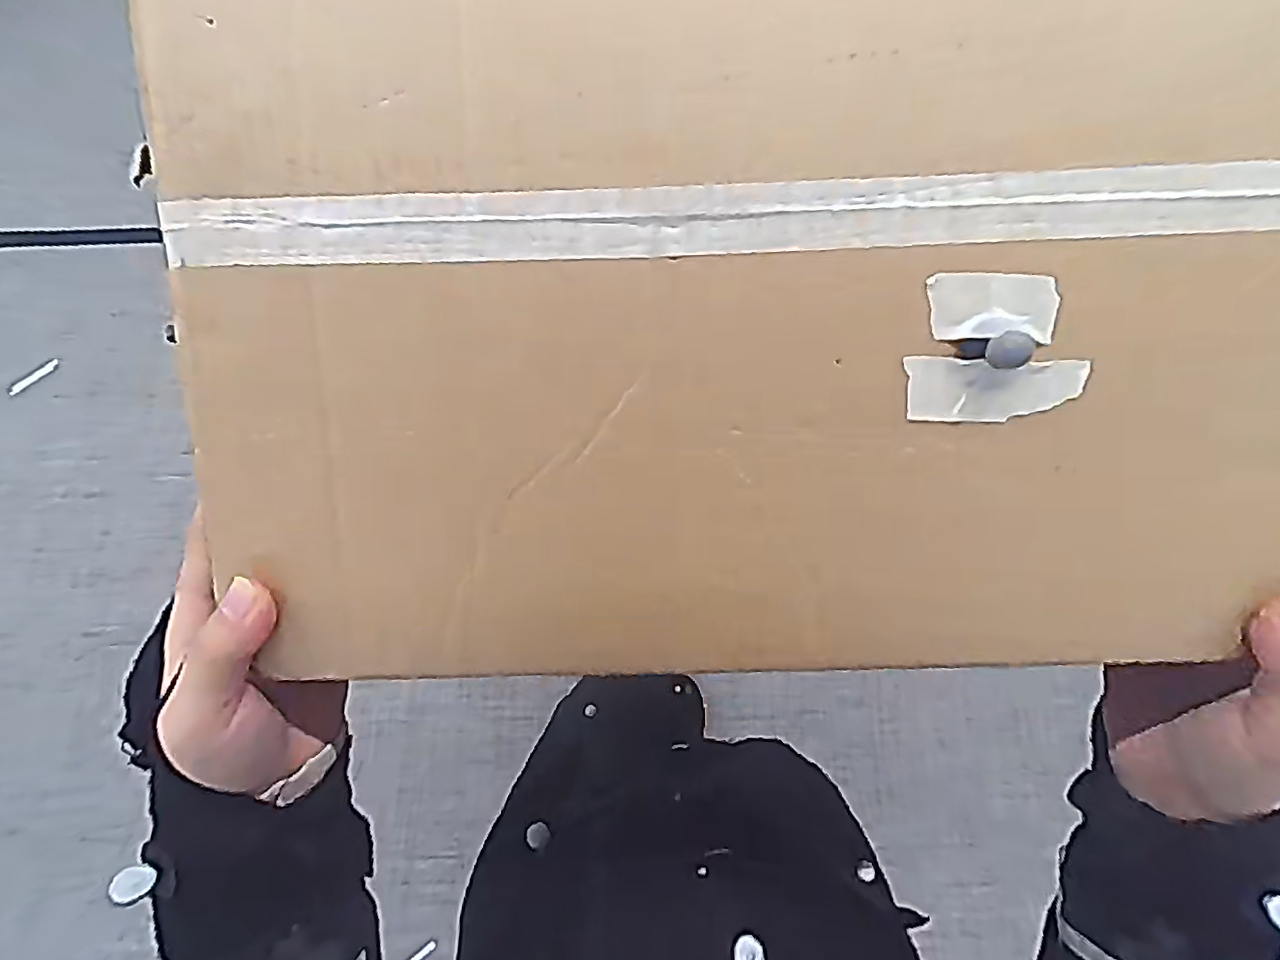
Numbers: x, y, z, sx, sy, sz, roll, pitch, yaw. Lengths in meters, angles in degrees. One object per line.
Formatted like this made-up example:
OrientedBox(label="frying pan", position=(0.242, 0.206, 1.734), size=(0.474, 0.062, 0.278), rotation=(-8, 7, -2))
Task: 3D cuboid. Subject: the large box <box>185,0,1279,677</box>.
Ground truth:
OrientedBox(label="large box", position=(0.045, -0.101, 0.339), size=(0.408, 0.320, 0.320), rotation=(-2, 97, 0))
